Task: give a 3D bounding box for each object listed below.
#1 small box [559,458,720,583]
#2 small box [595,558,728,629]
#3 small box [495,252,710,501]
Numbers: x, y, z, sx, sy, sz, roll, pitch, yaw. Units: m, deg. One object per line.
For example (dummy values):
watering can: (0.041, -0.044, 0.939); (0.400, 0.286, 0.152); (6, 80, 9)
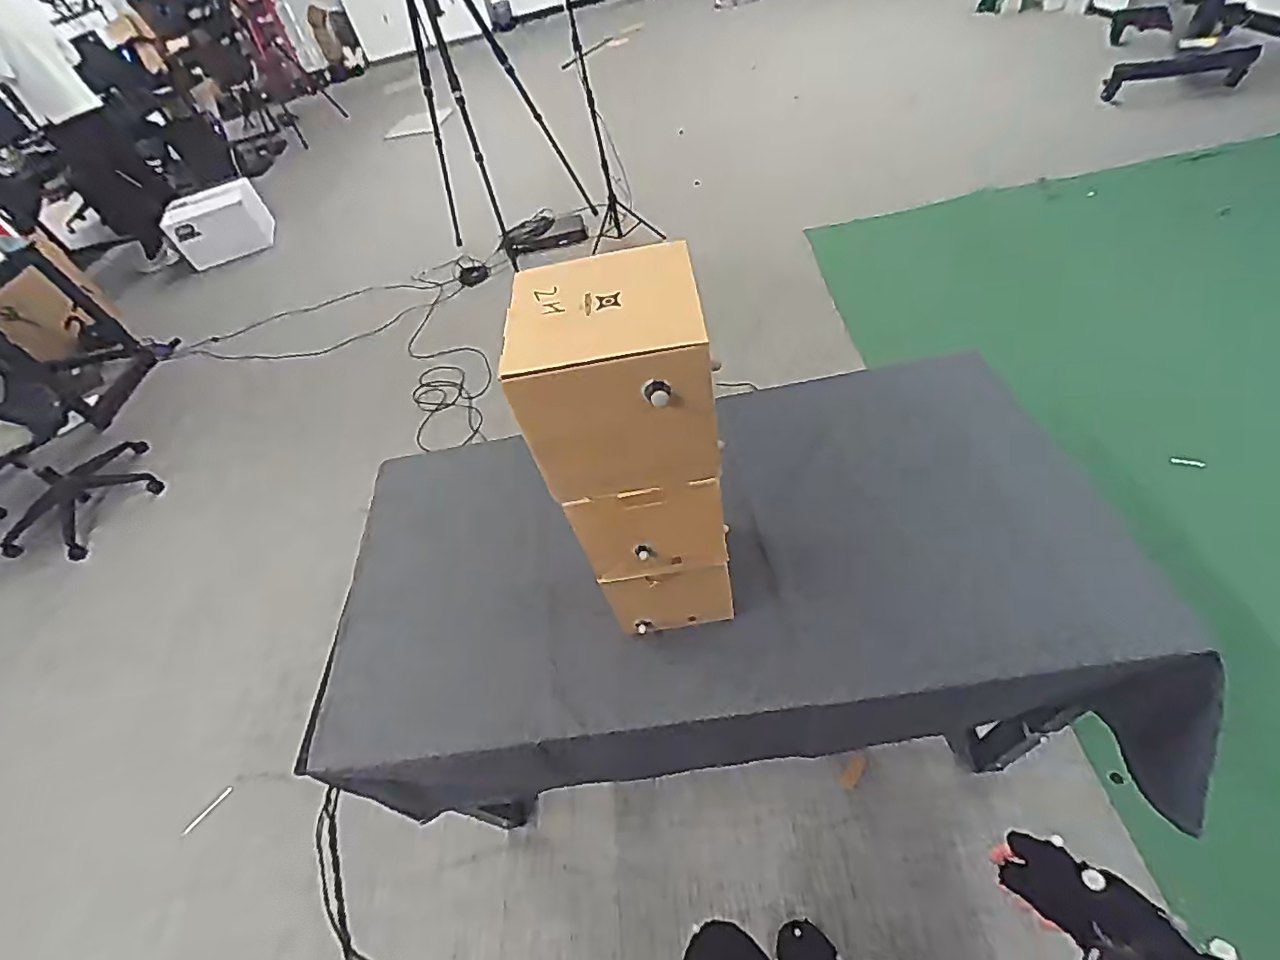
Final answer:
small box: (0.003, 0.004, 0.674); (0.168, 0.176, 0.179); (-10, 50, 5)
small box: (0.032, 0.105, 0.797); (0.168, 0.176, 0.179); (-10, 49, 5)
small box: (-0.025, -0.098, 0.547); (0.179, 0.176, 0.168); (-9, 49, 6)
